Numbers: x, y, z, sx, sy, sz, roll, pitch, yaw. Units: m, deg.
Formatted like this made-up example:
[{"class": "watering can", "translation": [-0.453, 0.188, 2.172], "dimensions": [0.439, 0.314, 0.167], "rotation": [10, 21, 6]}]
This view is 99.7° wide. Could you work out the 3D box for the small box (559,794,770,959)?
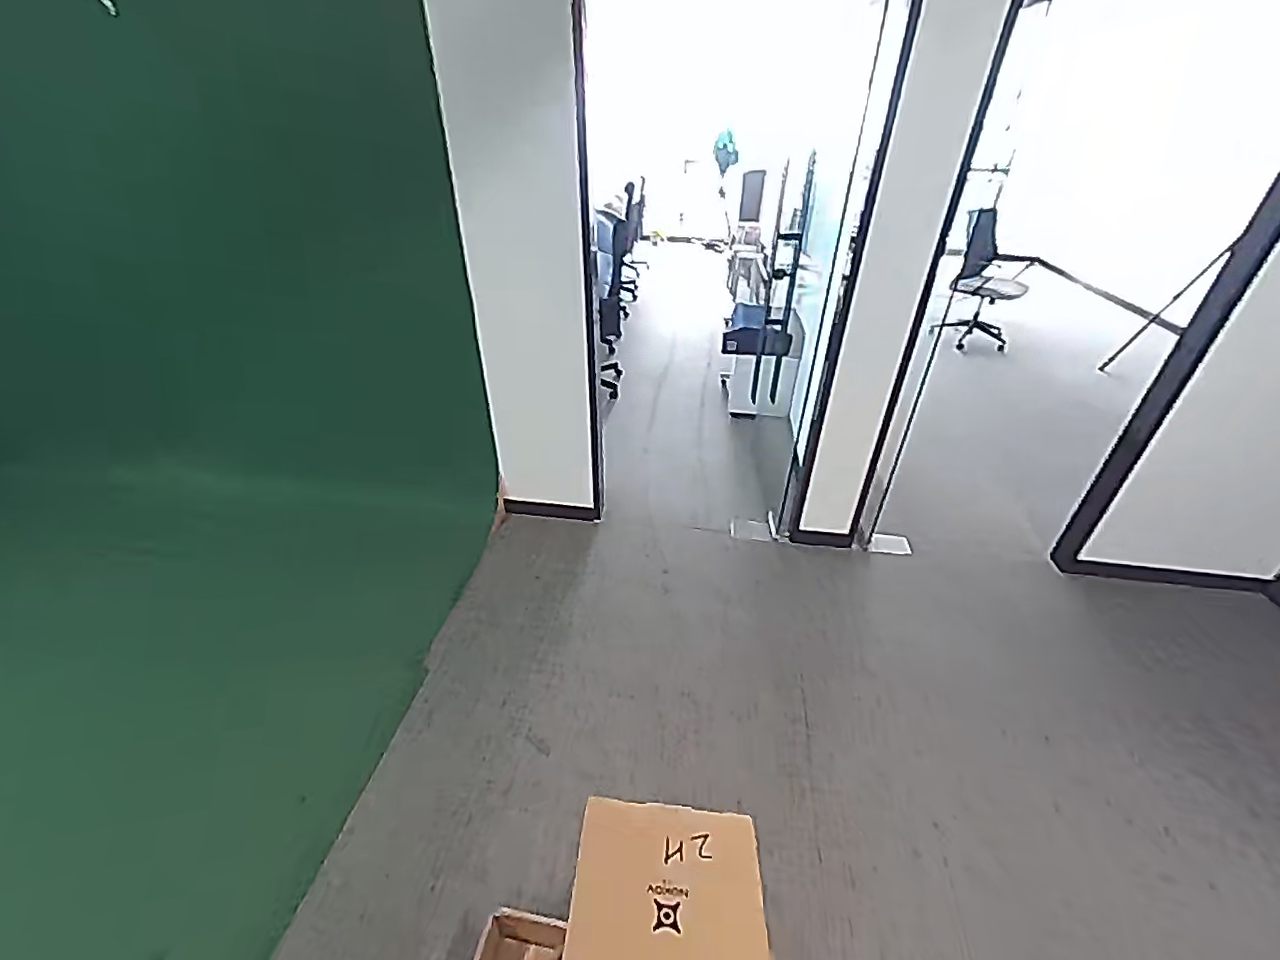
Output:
[{"class": "small box", "translation": [0.016, 0.424, 0.482], "dimensions": [0.168, 0.176, 0.179], "rotation": [7, 27, 1]}]
